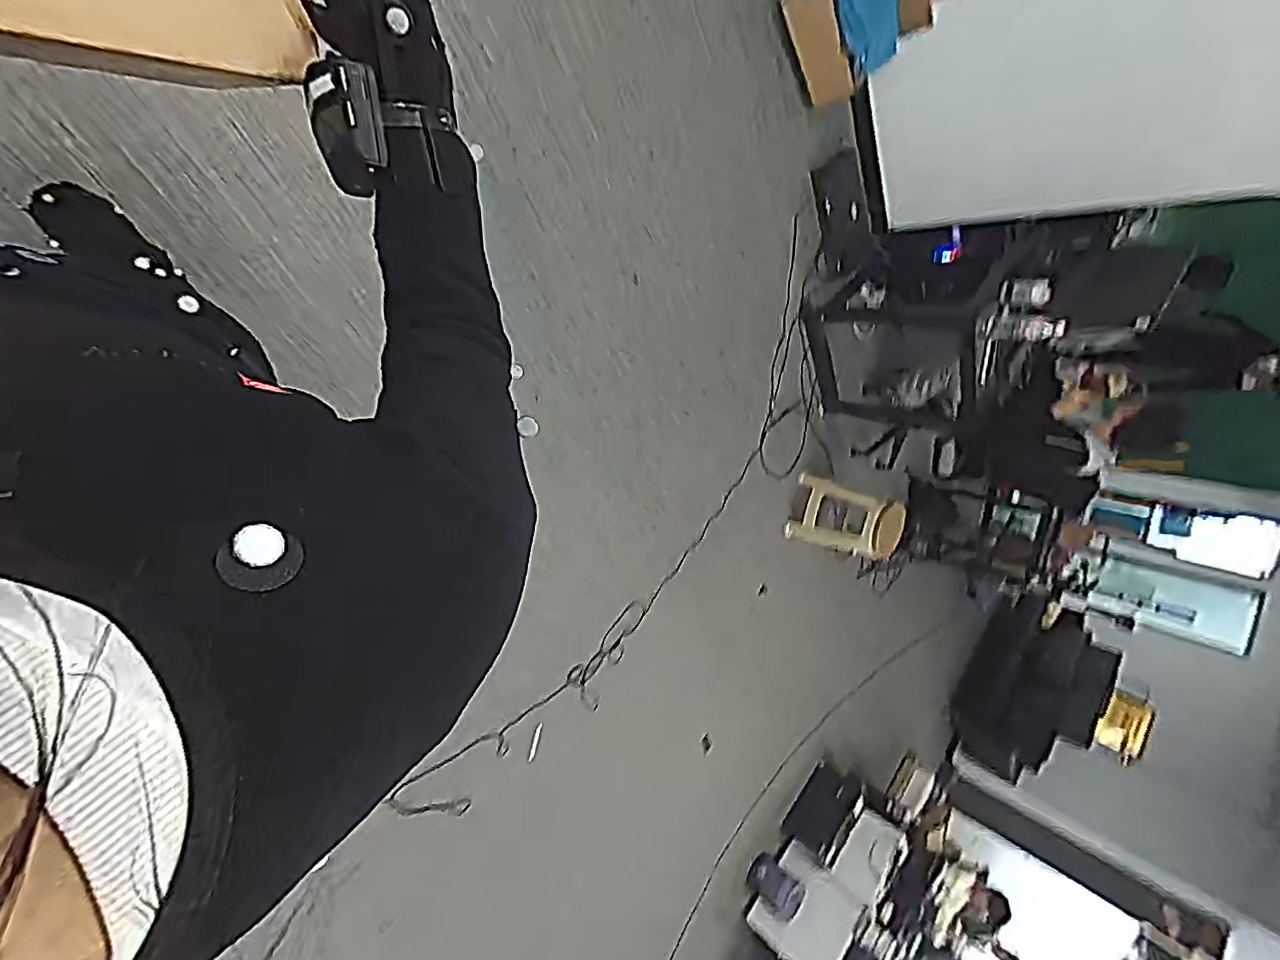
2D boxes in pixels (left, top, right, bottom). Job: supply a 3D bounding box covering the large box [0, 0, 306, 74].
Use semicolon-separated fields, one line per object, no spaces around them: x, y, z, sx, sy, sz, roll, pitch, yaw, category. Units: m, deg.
-0.453;-0.412;0.251;0.408;0.320;0.320;-21;131;-39;large box
